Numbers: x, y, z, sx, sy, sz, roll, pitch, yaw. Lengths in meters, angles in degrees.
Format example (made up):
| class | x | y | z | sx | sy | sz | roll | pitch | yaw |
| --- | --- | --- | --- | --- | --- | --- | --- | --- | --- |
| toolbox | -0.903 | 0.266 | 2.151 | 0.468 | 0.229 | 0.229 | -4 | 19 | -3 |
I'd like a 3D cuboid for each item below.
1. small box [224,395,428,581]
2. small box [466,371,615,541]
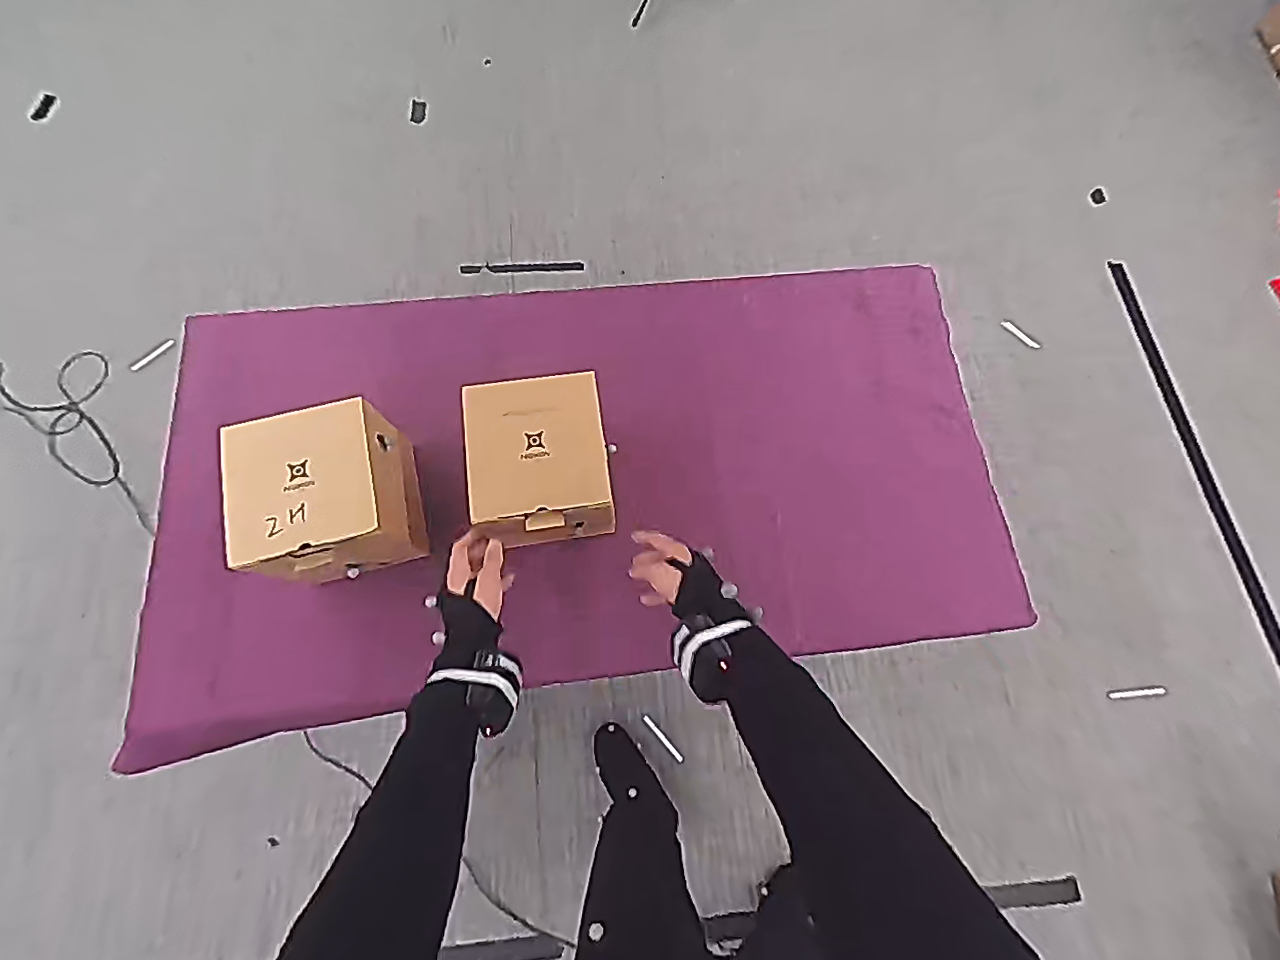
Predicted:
| class | x | y | z | sx | sy | sz | roll | pitch | yaw |
| --- | --- | --- | --- | --- | --- | --- | --- | --- | --- |
| small box | -0.390 | 0.018 | 0.694 | 0.168 | 0.176 | 0.179 | -14 | 74 | -6 |
| small box | -0.123 | -0.021 | 0.715 | 0.168 | 0.176 | 0.179 | -7 | 73 | -5 |
